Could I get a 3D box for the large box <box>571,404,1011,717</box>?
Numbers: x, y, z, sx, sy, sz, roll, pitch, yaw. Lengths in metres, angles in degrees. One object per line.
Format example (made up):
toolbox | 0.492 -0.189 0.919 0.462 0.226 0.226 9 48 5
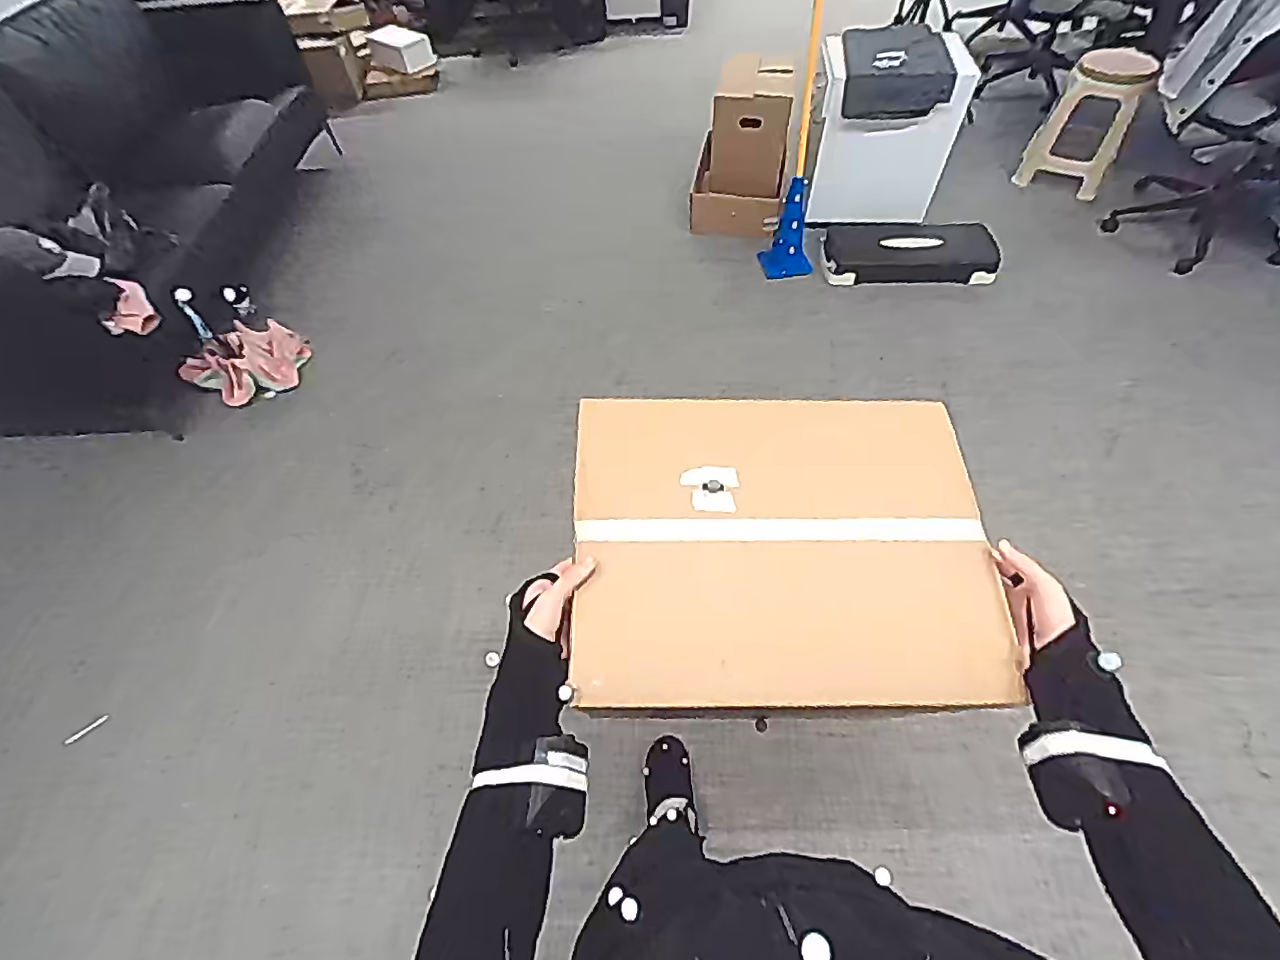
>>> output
large box | 0.134 0.121 0.678 0.408 0.320 0.320 -1 63 -1
